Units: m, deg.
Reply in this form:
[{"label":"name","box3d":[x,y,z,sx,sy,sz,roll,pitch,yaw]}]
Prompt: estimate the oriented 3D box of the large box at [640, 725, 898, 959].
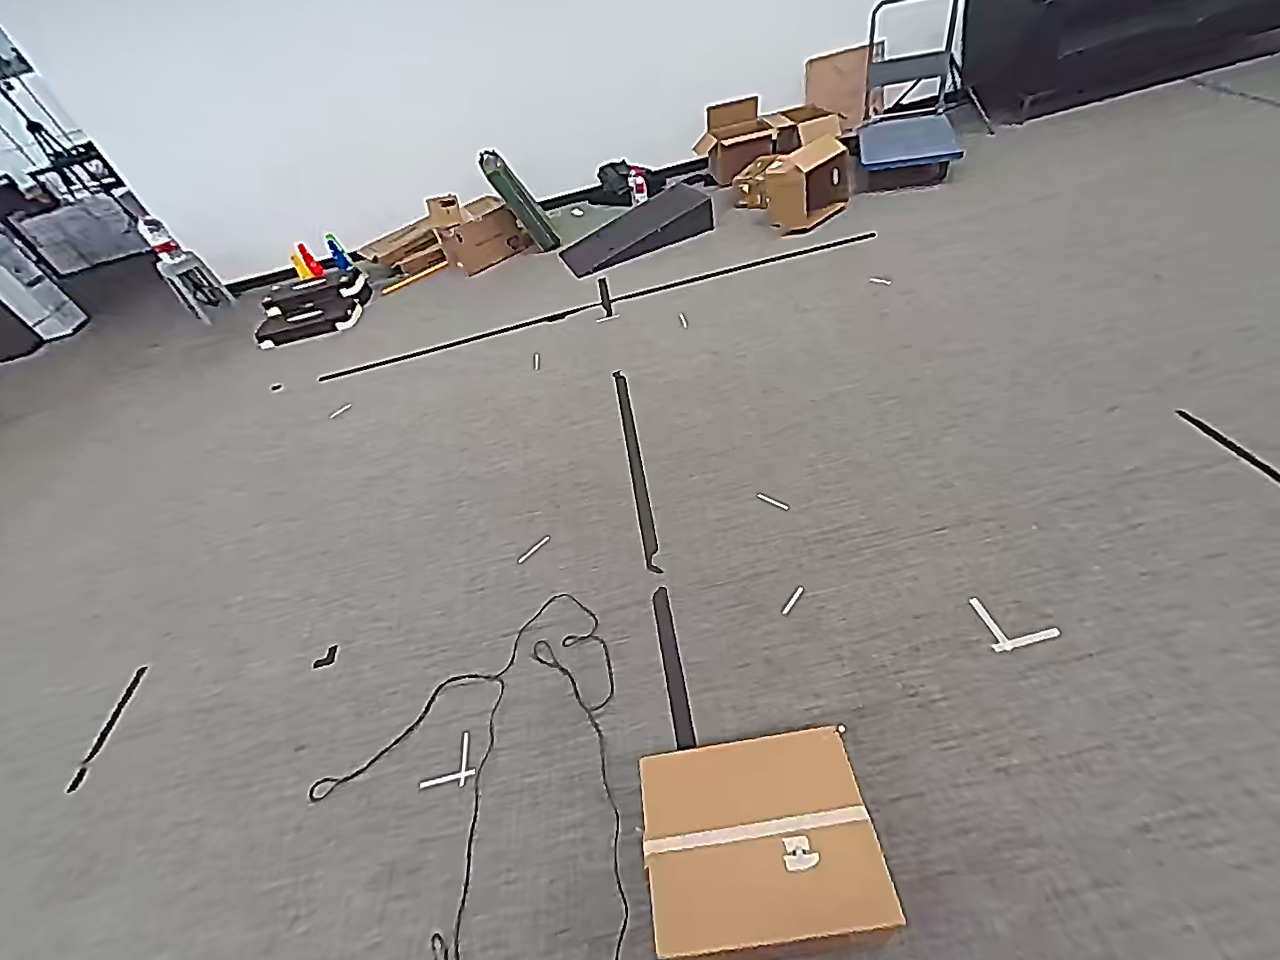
[{"label":"large box","box3d":[0.233,0.740,1.084,0.408,0.320,0.320,-11,44,3]}]
